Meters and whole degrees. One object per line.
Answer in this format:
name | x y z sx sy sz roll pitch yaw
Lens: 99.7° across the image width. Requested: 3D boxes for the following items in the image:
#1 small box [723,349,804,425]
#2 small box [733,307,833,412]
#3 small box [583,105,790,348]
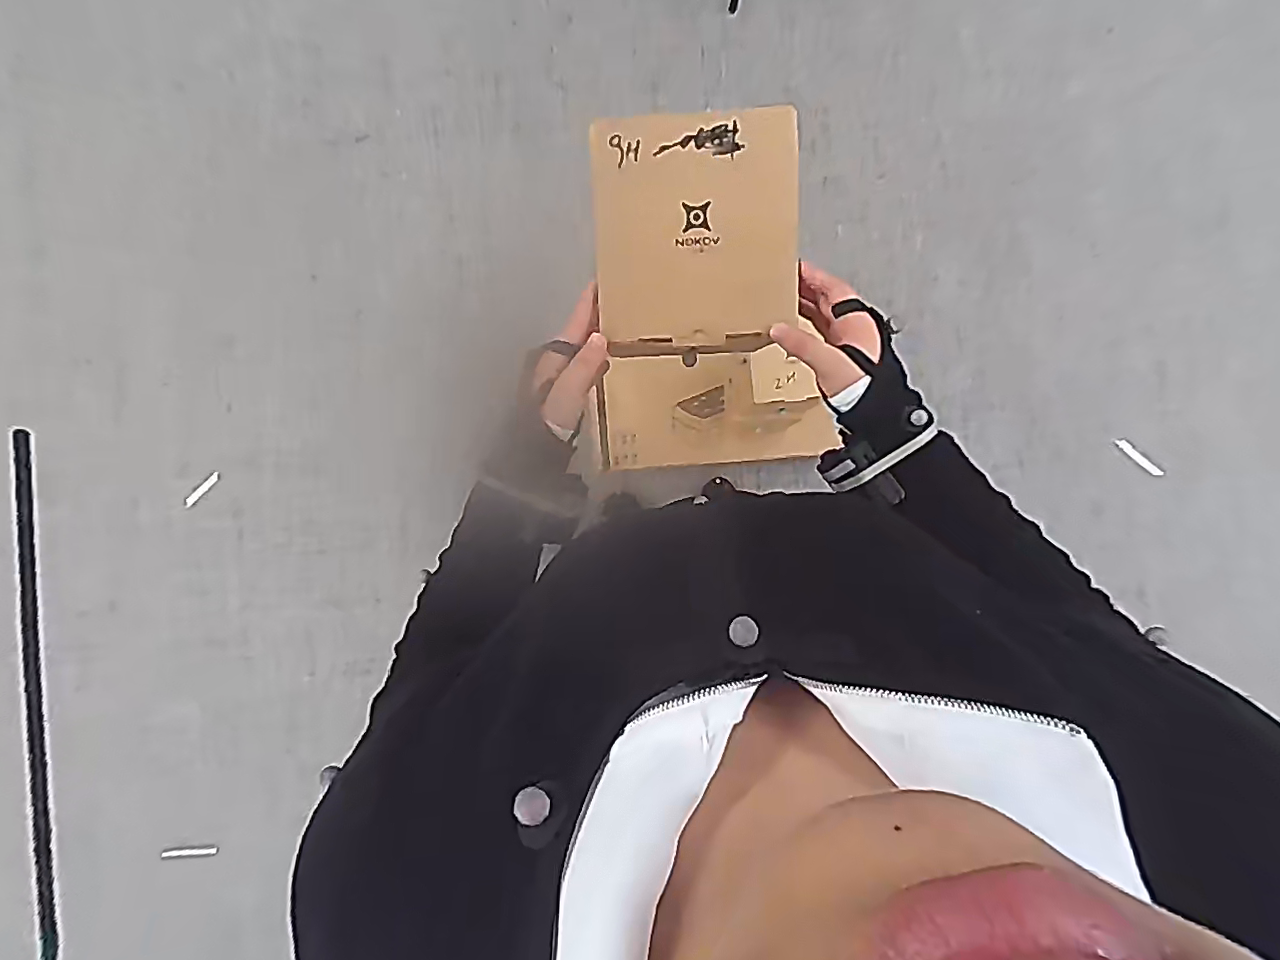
small box | 0.297 -0.232 1.324 0.168 0.176 0.179 -1 89 2
small box | 0.298 -0.251 1.159 0.168 0.176 0.179 -5 88 1
small box | 0.041 -0.219 0.517 0.168 0.176 0.179 -3 100 1
